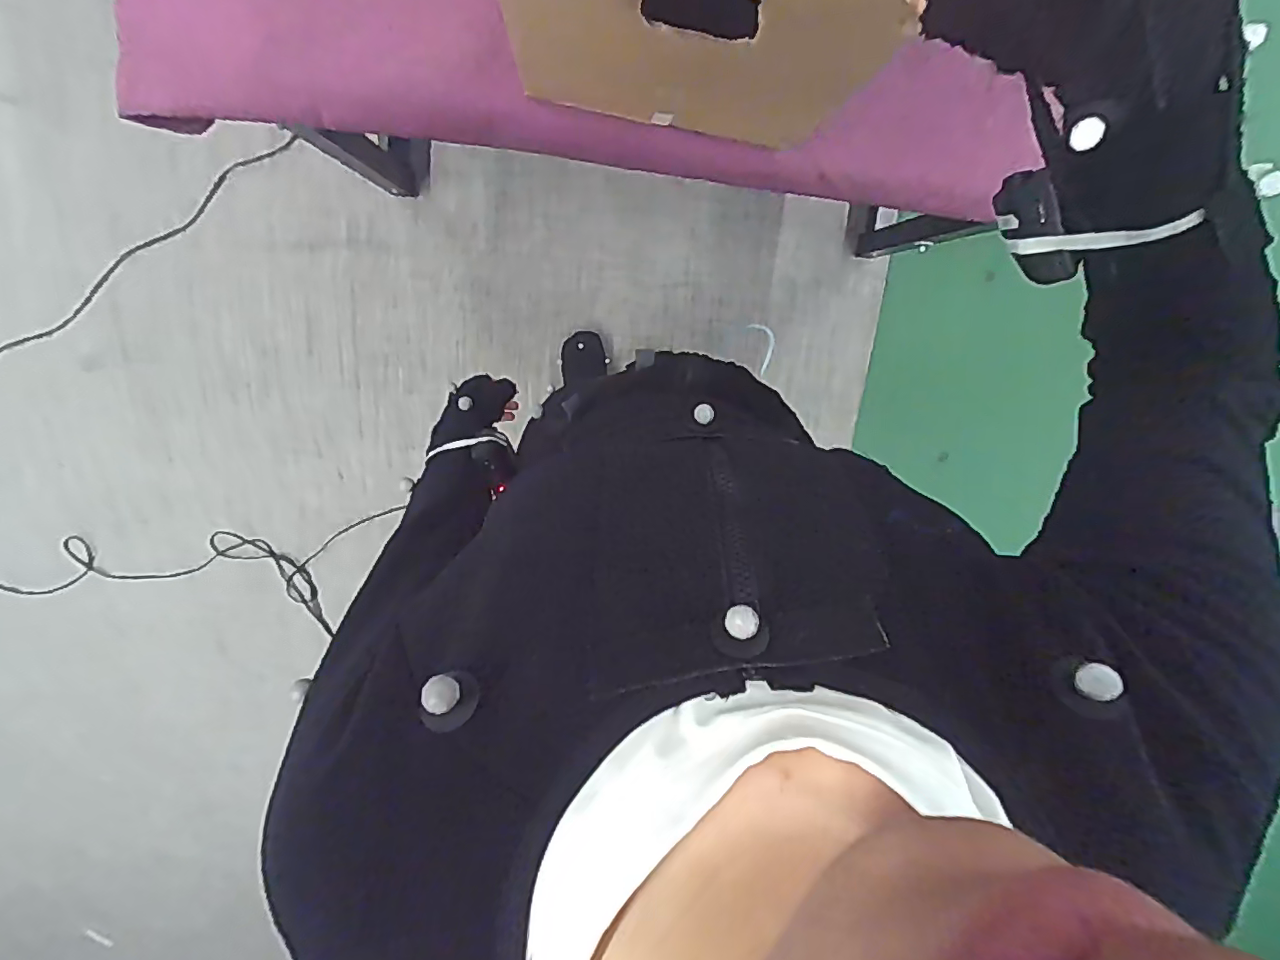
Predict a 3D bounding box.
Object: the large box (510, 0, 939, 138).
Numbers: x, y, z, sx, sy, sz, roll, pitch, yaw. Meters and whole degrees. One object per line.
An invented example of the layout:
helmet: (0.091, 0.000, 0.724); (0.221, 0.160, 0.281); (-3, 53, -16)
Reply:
large box: (0.064, -0.570, 0.436); (0.320, 0.320, 0.408); (7, 106, -7)
